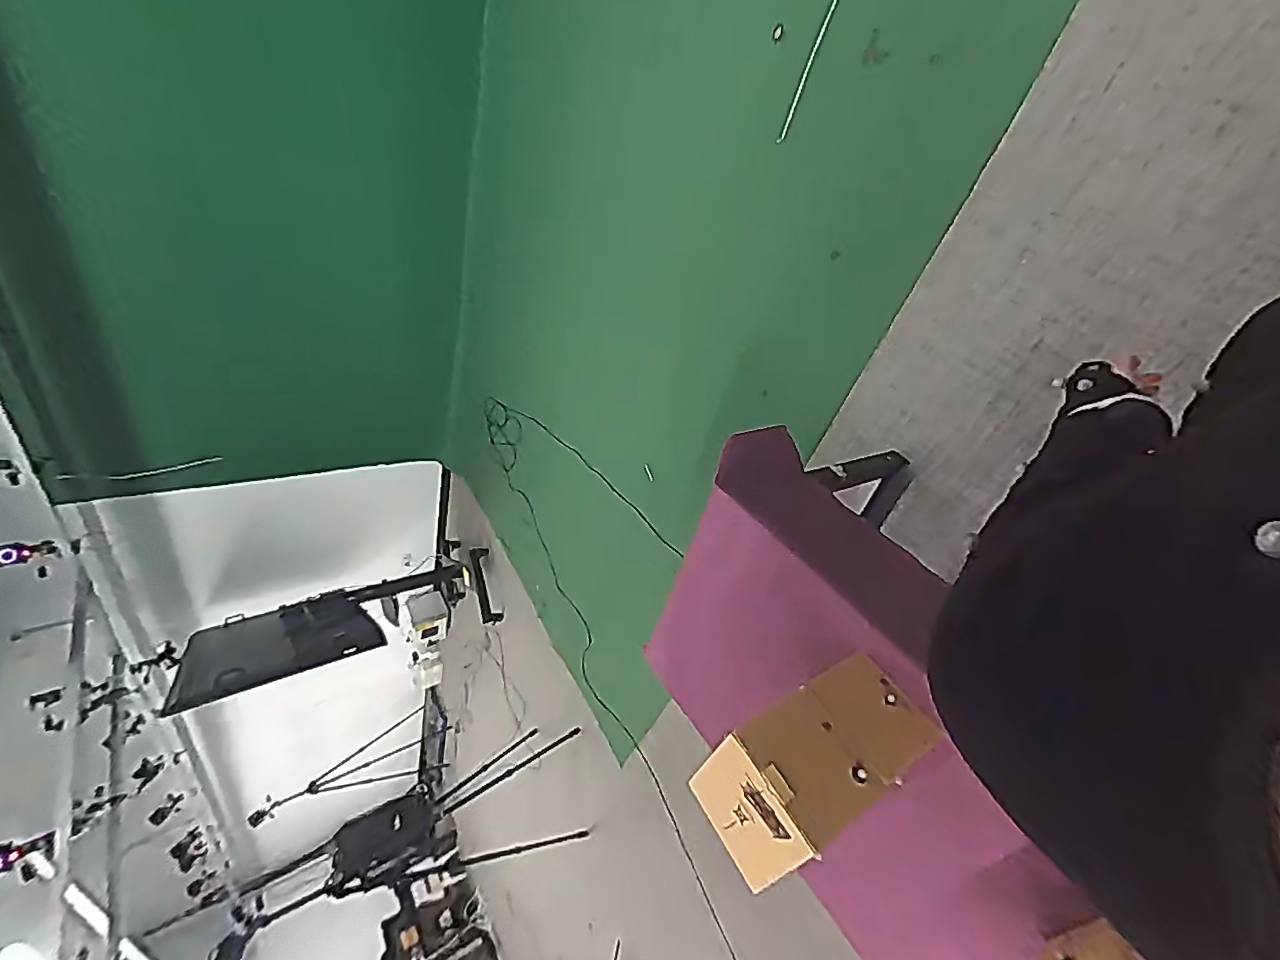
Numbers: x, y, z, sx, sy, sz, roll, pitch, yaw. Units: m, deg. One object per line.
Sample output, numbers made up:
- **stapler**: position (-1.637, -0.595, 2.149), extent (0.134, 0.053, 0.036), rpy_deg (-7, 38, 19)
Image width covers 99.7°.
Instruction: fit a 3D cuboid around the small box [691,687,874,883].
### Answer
- **small box**: position (0.211, 0.440, 0.799), extent (0.168, 0.176, 0.179), rpy_deg (52, 137, 33)
